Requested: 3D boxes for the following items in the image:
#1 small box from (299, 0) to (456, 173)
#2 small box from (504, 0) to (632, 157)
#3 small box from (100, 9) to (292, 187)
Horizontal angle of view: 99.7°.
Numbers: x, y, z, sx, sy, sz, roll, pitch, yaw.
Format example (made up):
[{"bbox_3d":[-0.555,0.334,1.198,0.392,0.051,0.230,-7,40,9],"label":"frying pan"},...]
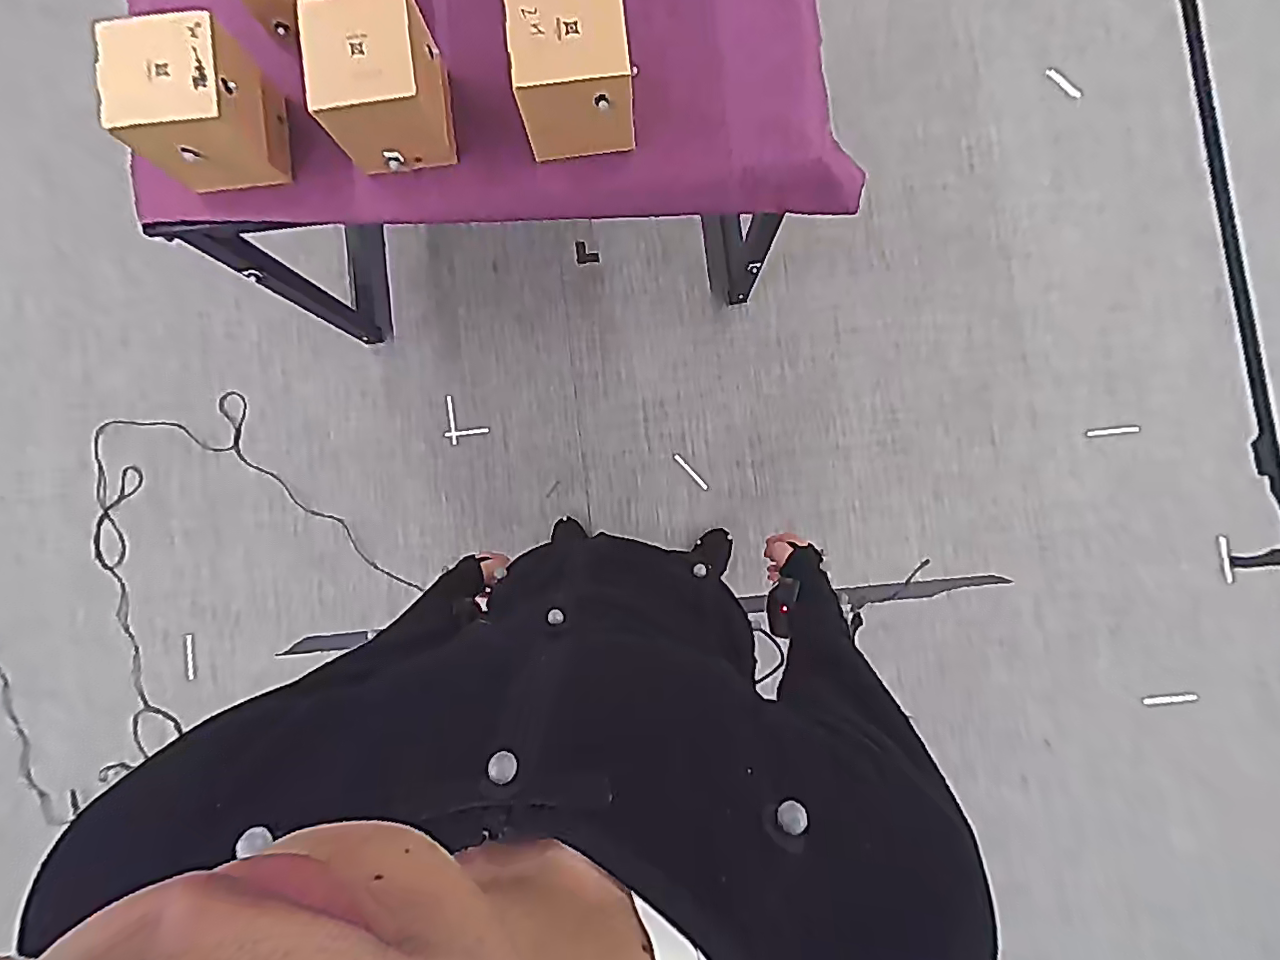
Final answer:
[{"bbox_3d":[-0.414,-0.637,0.876,0.168,0.176,0.179,-7,89,2],"label":"small box"},{"bbox_3d":[-0.106,-0.654,0.866,0.179,0.176,0.168,-6,87,2],"label":"small box"},{"bbox_3d":[-0.708,-0.604,0.878,0.179,0.176,0.168,-6,88,1],"label":"small box"}]
